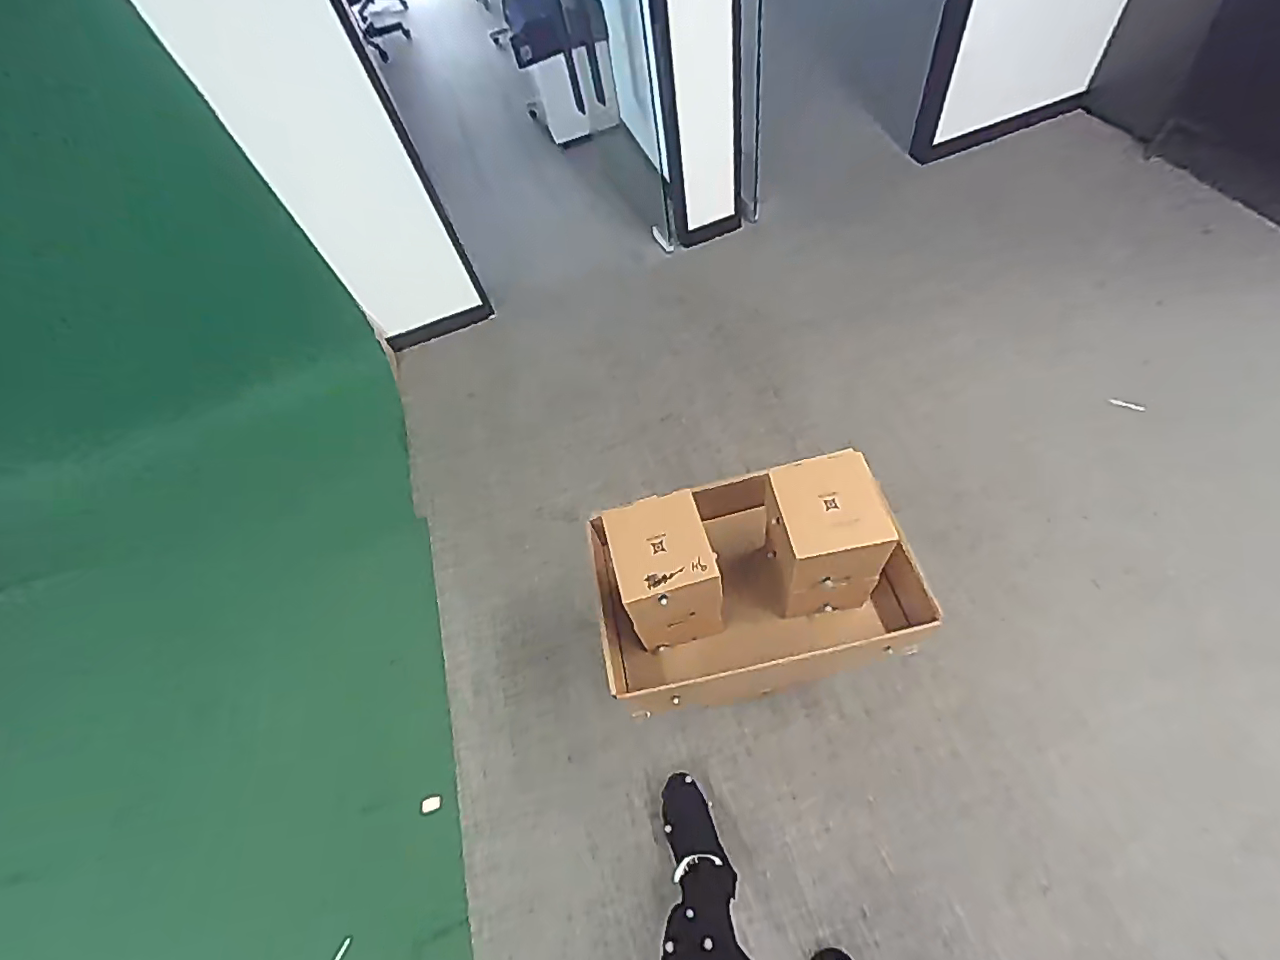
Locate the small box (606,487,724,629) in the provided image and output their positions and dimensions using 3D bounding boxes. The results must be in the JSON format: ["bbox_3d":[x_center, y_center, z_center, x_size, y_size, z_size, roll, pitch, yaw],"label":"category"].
[{"bbox_3d":[0.047,0.144,0.969,0.168,0.176,0.179,-17,57,1],"label":"small box"}]

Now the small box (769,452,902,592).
[{"bbox_3d":[0.331,0.079,0.958,0.168,0.176,0.179,-11,57,4],"label":"small box"}]

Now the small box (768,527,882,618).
[{"bbox_3d":[0.361,0.161,1.096,0.168,0.176,0.179,-11,58,4],"label":"small box"}]
